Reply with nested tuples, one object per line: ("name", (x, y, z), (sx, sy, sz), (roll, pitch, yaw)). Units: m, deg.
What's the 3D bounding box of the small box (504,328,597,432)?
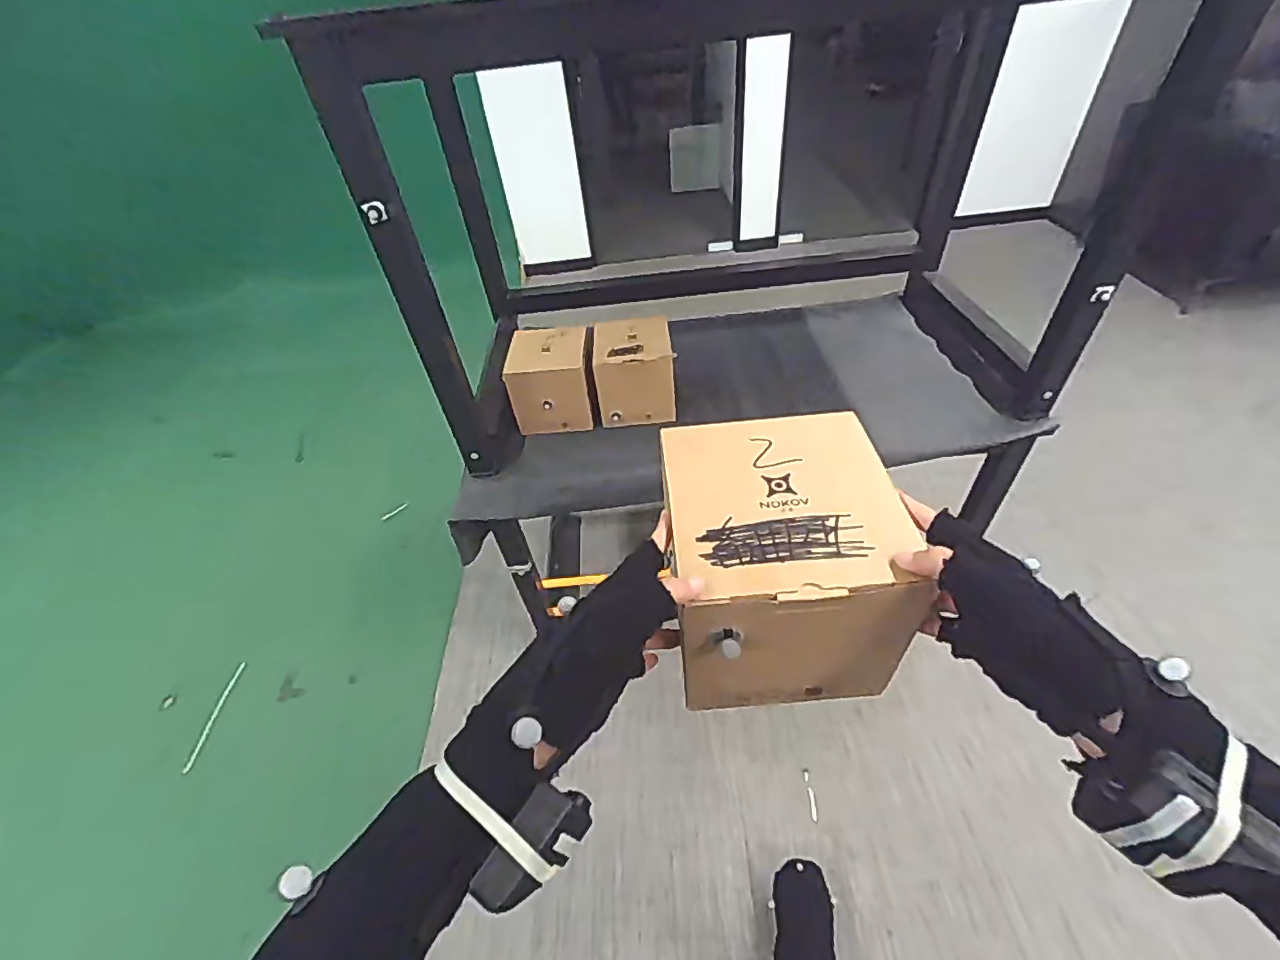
("small box", (-0.190, -0.219, 1.209), (0.168, 0.176, 0.179), (-3, 44, 2))
